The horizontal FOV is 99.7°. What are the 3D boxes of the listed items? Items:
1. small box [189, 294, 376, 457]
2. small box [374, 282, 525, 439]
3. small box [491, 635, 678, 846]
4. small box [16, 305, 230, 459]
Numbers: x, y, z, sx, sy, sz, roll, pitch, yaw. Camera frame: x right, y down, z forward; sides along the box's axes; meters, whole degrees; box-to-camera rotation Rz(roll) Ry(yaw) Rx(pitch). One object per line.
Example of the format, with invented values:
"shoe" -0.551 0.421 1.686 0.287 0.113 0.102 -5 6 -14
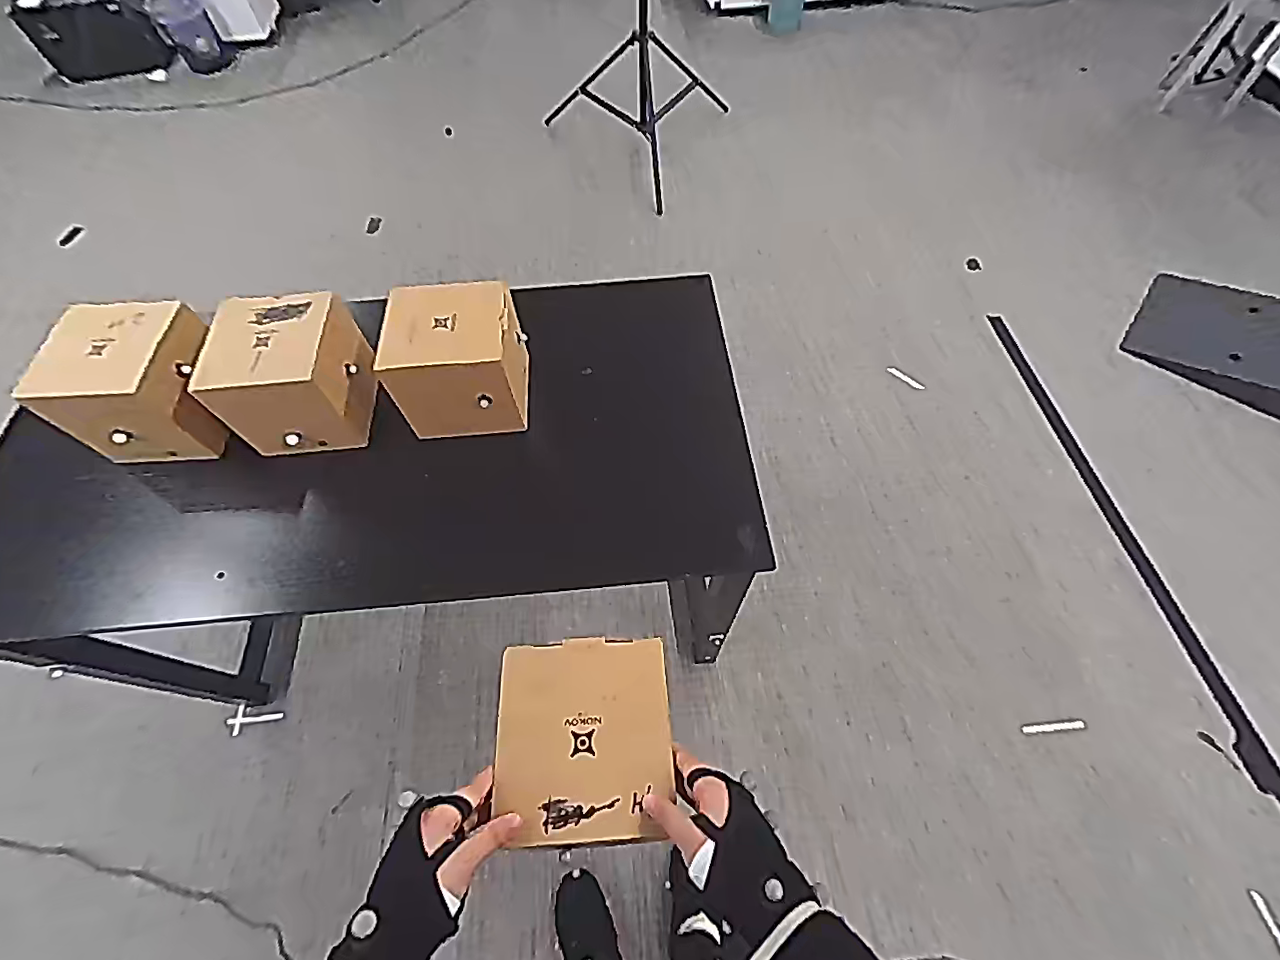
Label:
"small box" -0.527 -0.157 0.831 0.168 0.176 0.179 -6 62 -3
"small box" -0.280 -0.180 0.842 0.179 0.176 0.168 -6 59 -1
"small box" -0.053 0.282 0.581 0.168 0.176 0.179 -3 56 -2
"small box" -0.751 -0.141 0.828 0.168 0.176 0.179 -2 60 -1
